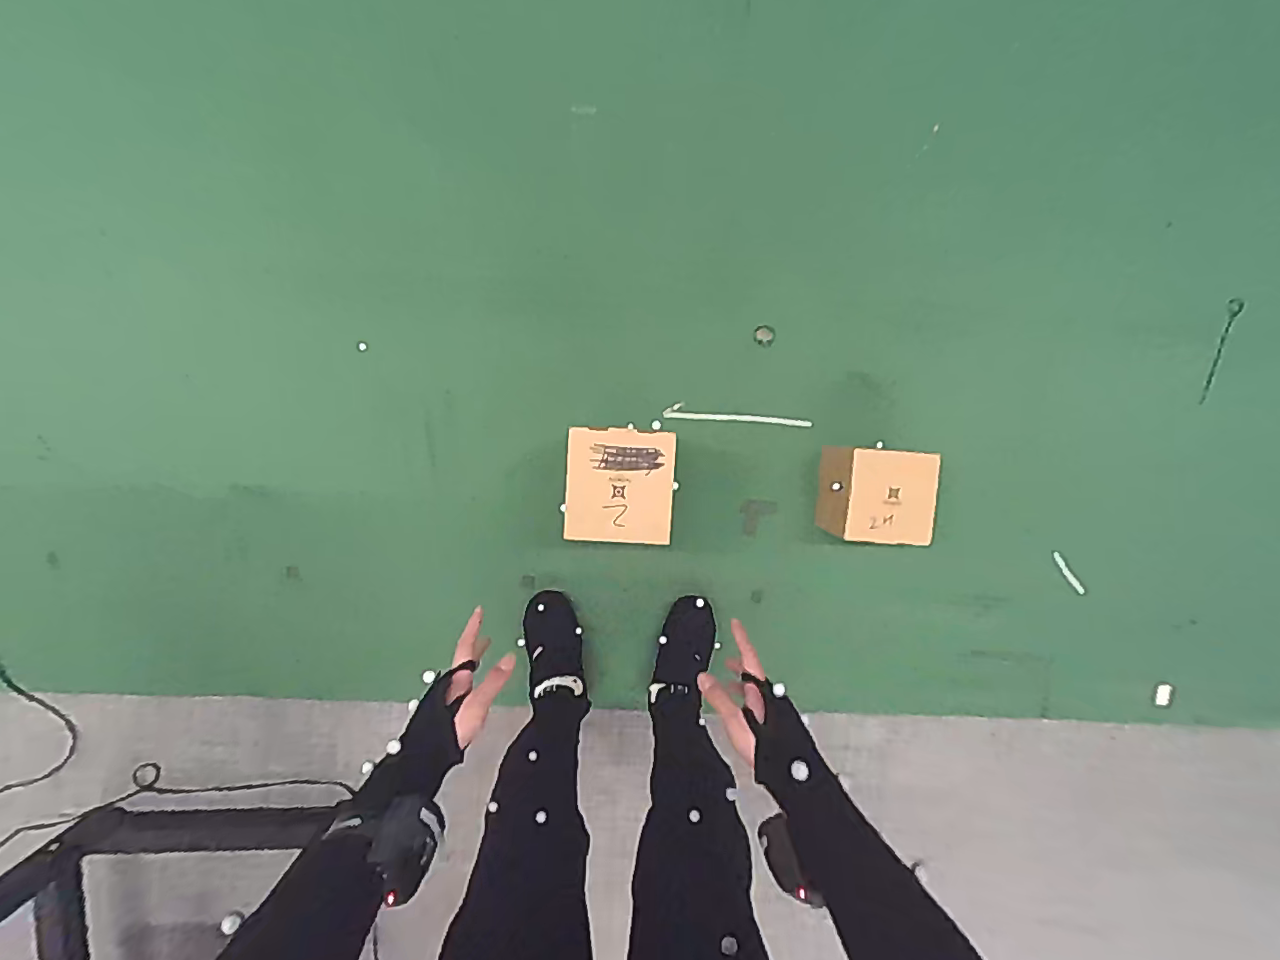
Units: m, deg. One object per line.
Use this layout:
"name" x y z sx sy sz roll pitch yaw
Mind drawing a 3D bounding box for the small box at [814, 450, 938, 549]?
"small box" 0.465 0.032 1.088 0.168 0.176 0.179 5 95 -3

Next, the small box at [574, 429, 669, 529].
"small box" -0.036 -0.007 1.067 0.168 0.176 0.179 3 94 -2
